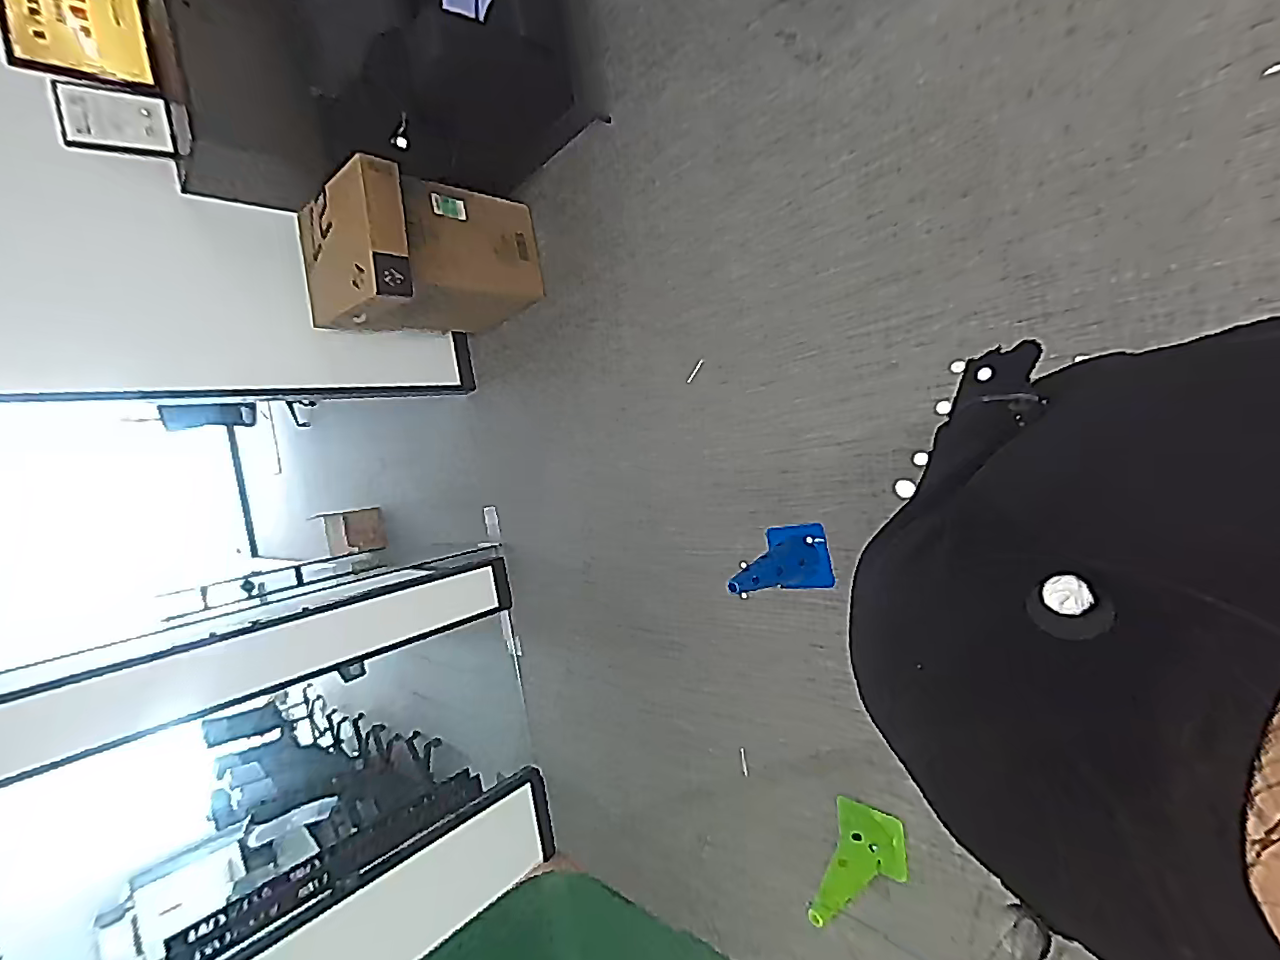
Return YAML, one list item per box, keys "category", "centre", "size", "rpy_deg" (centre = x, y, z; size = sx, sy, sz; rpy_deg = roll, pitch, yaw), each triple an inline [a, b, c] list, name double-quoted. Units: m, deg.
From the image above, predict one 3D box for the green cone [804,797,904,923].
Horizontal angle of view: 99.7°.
- category: "green cone"
  centre: [0.565, 1.097, 1.502]
  size: [0.200, 0.368, 0.202]
  rpy_deg: [-2, 95, 45]
